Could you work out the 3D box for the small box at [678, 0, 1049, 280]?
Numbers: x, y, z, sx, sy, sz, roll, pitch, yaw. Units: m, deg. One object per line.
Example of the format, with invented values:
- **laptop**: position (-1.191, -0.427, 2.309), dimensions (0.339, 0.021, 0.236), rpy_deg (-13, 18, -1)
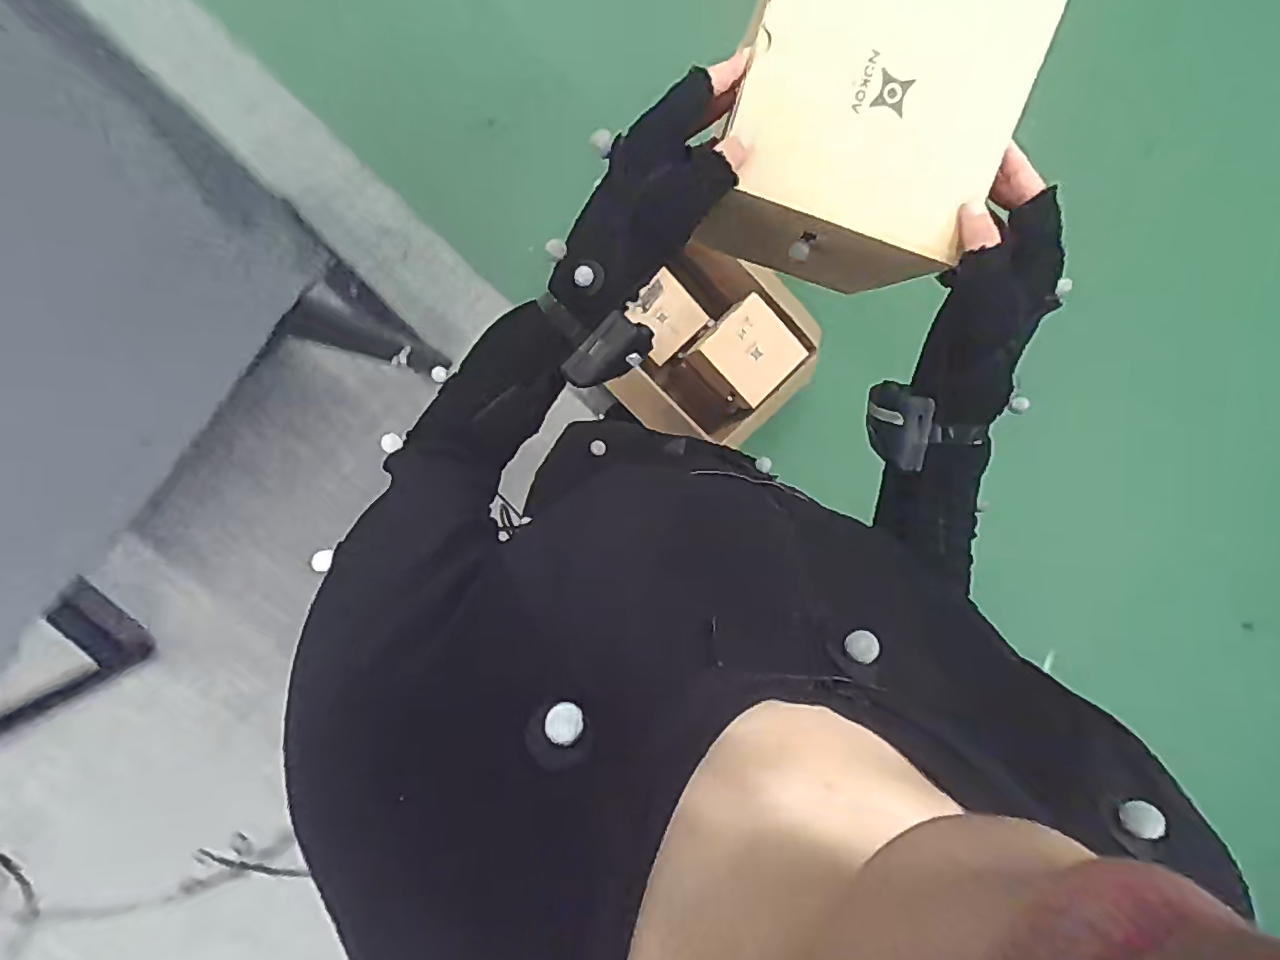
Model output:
- **small box**: position (0.138, -0.260, 0.406), dimensions (0.179, 0.176, 0.168), rpy_deg (15, 102, -4)
